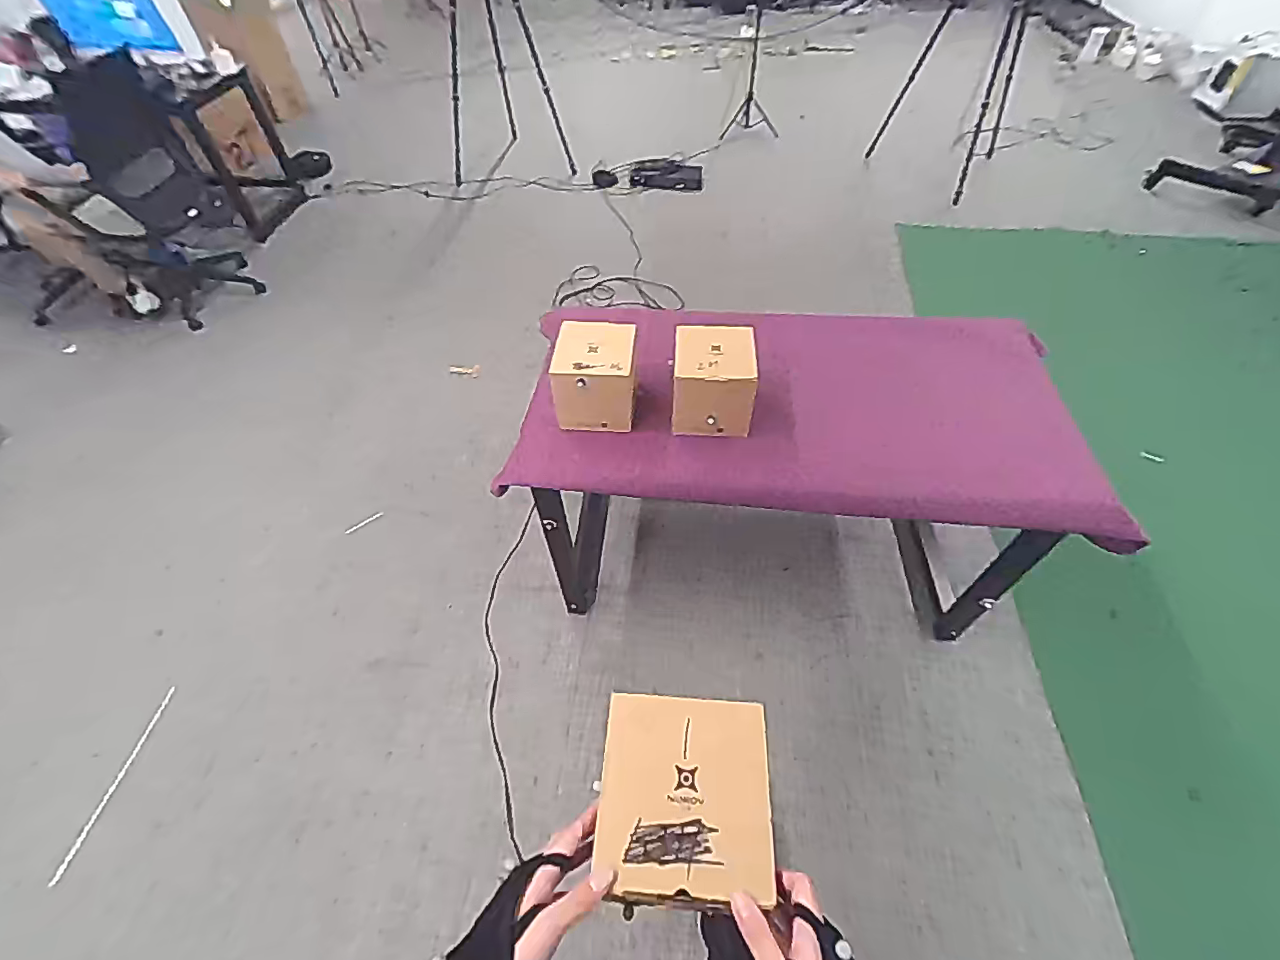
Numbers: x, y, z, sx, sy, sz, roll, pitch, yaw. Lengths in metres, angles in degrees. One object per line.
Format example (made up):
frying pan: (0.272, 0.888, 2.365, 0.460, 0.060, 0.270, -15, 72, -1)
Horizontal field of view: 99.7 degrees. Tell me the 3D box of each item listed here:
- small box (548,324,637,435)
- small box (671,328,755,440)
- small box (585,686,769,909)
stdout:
small box: (-0.096, -0.222, 1.196, 0.168, 0.176, 0.179, 2, 50, 5)
small box: (0.154, -0.210, 1.182, 0.168, 0.176, 0.179, 3, 51, 4)
small box: (0.041, 0.345, 0.585, 0.168, 0.176, 0.179, 3, 49, 3)
